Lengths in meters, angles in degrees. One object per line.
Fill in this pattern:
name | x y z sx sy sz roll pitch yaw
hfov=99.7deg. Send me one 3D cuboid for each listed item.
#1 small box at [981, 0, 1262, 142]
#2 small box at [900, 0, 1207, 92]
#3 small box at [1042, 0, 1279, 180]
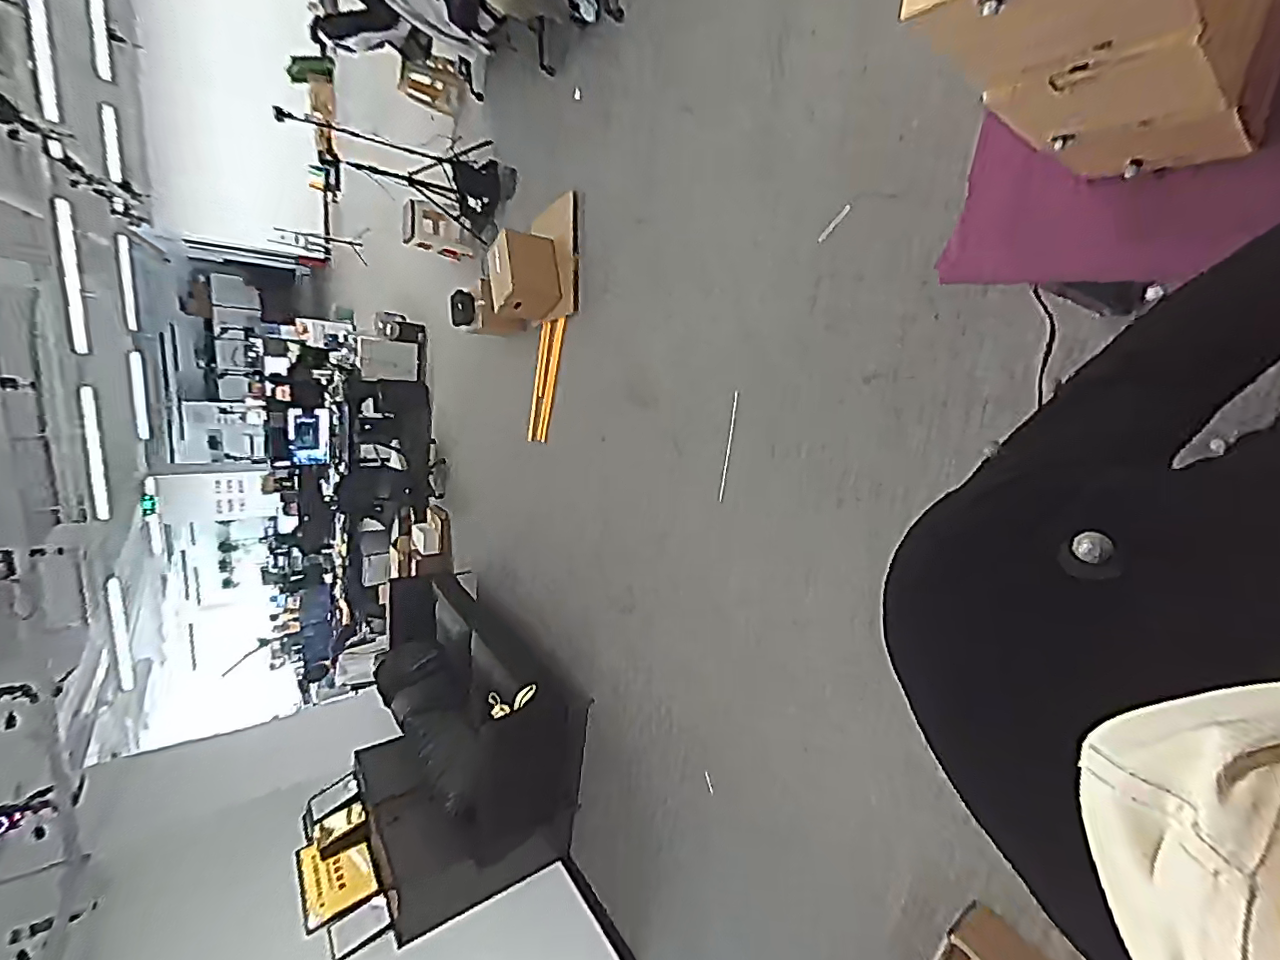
small box | 0.473 -0.457 0.526 0.168 0.176 0.179 22 109 51
small box | 0.342 -0.456 0.427 0.168 0.176 0.179 22 109 52
small box | 0.606 -0.473 0.621 0.168 0.176 0.179 22 111 51
